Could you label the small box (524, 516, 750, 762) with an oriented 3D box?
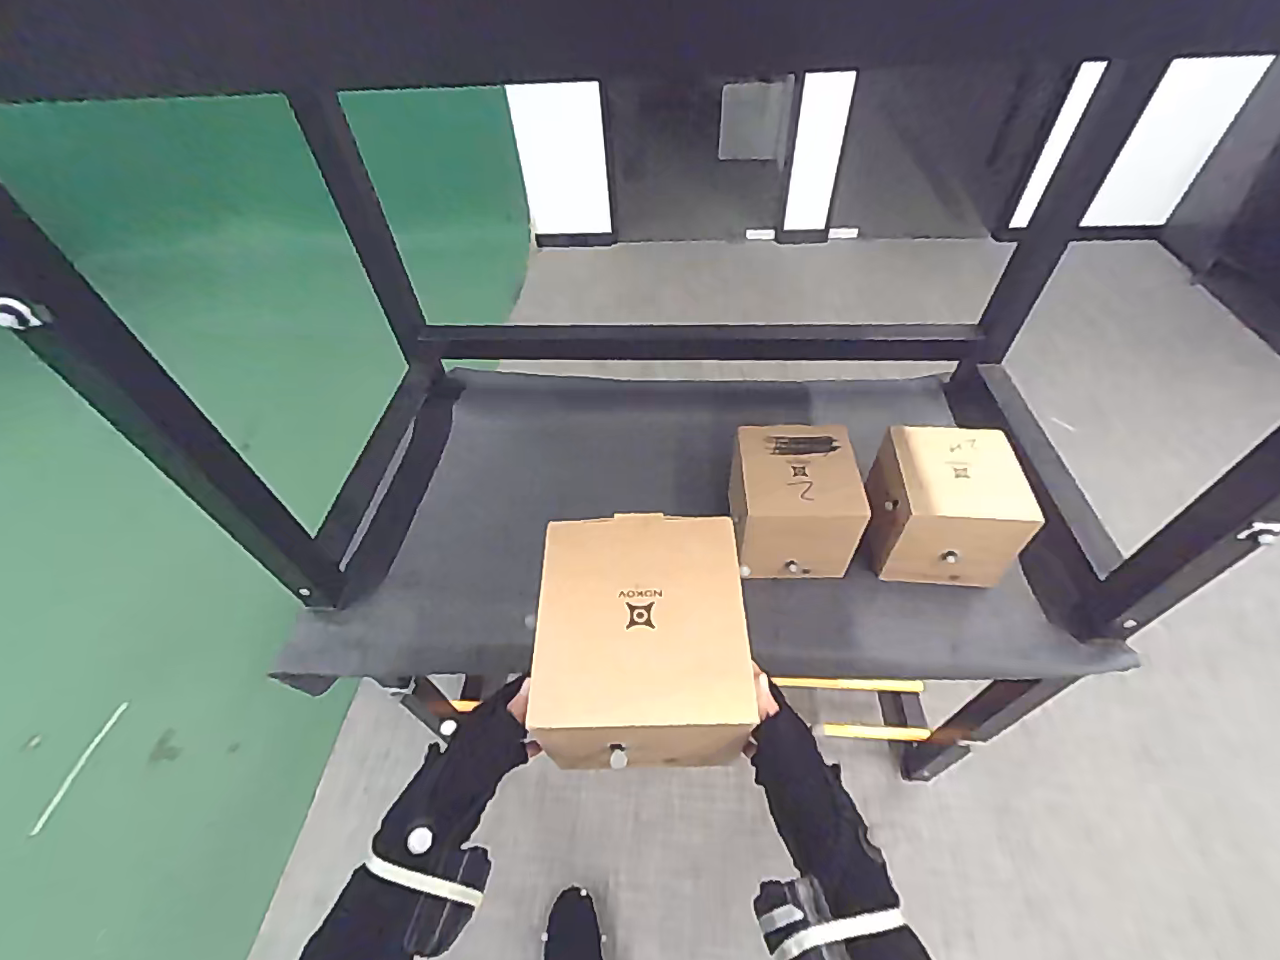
[{"bbox_3d":[0.000,0.152,0.495,0.168,0.176,0.179,-1,52,1],"label":"small box"}]
